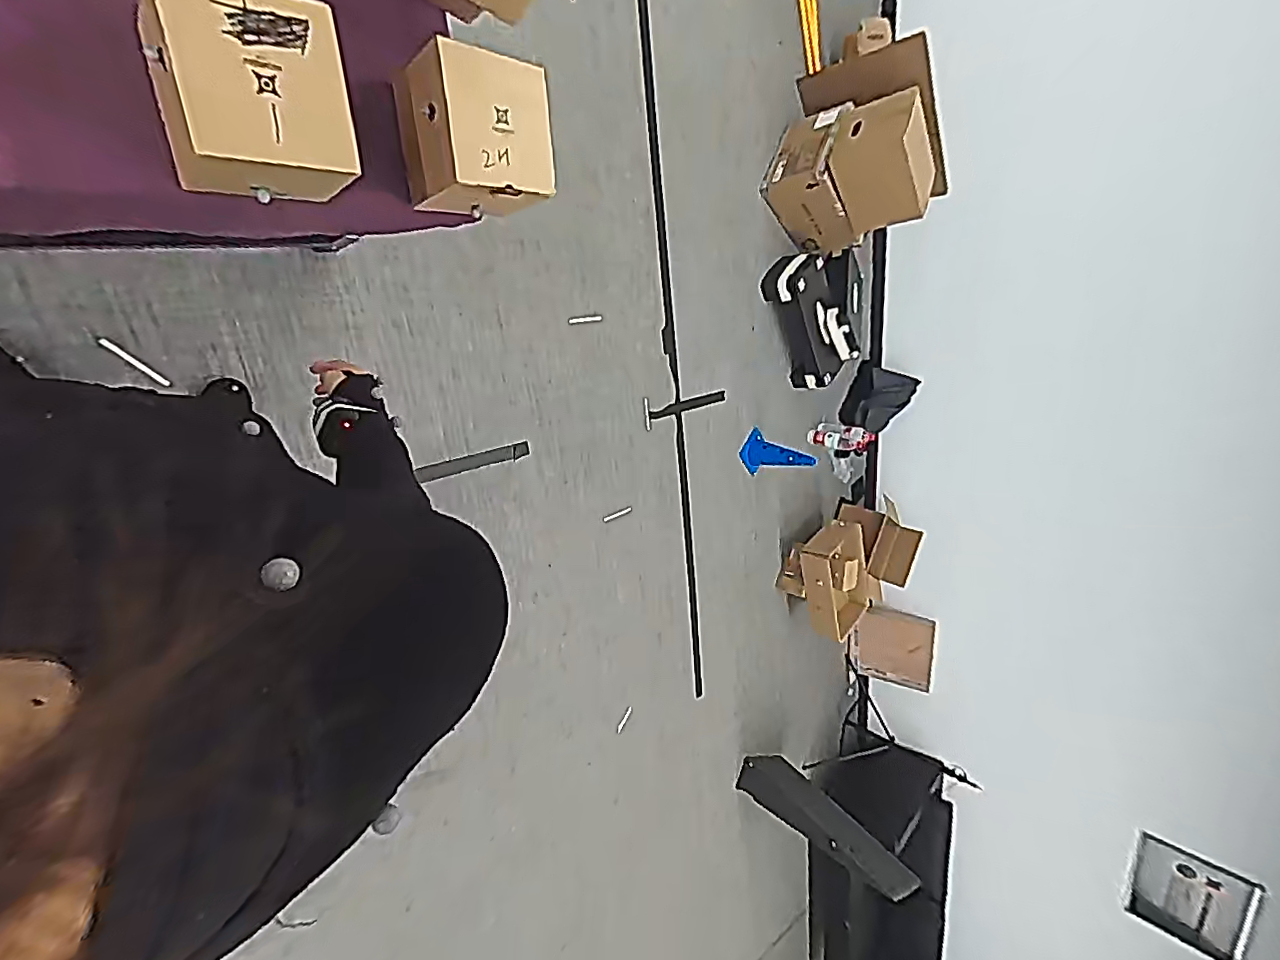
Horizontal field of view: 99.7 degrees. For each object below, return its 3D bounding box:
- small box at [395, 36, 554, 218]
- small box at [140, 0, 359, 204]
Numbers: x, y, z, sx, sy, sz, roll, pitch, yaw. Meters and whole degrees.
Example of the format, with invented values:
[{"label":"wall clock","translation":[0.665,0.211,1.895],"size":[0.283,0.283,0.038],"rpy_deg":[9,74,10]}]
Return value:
[{"label":"small box","translation":[-0.254,-0.517,0.823],"size":[0.168,0.176,0.179],"rpy_deg":[-17,110,-40]},{"label":"small box","translation":[-0.462,-0.448,0.642],"size":[0.168,0.176,0.179],"rpy_deg":[-18,112,-40]}]
